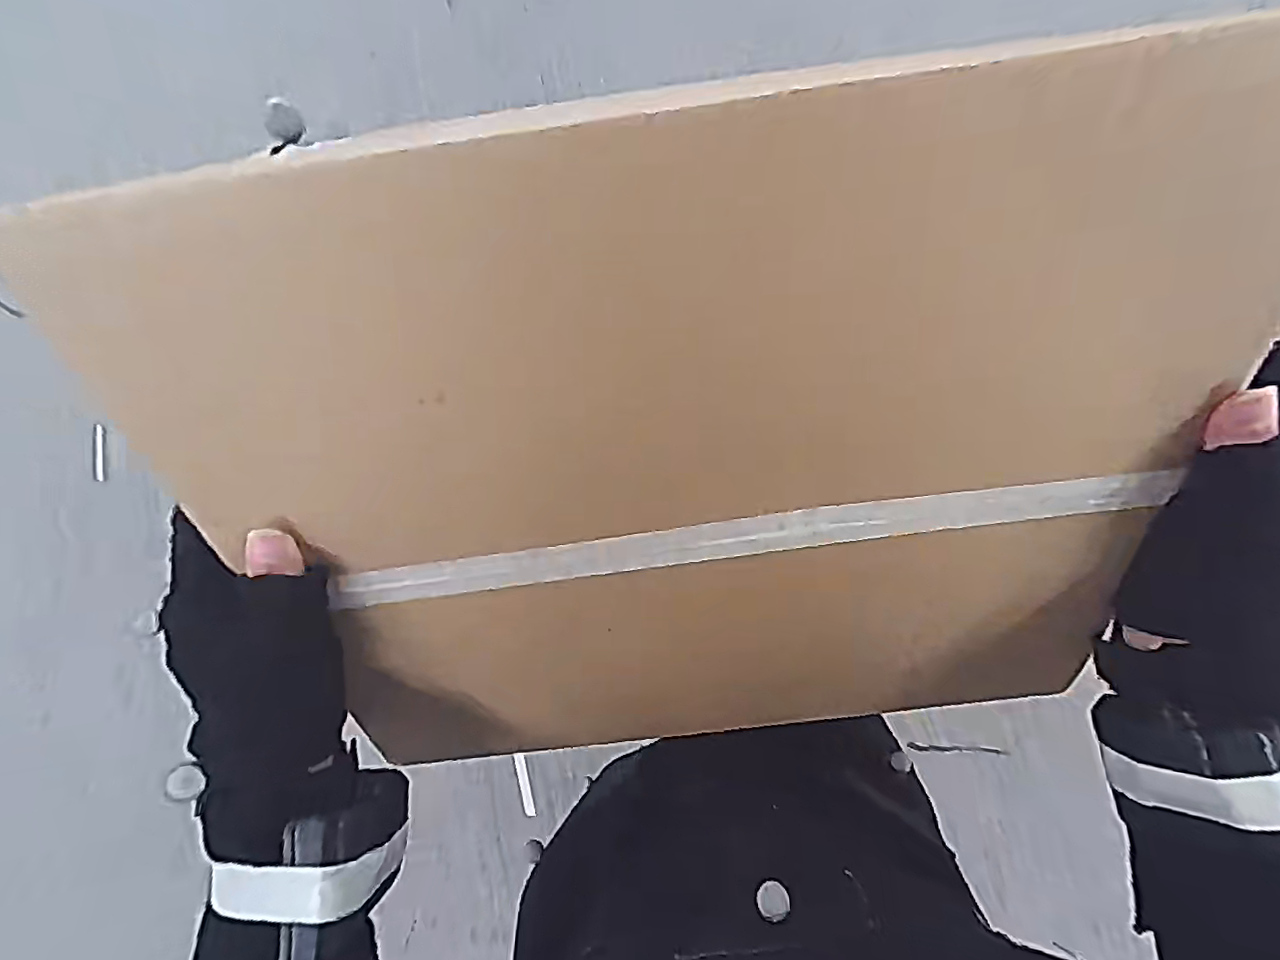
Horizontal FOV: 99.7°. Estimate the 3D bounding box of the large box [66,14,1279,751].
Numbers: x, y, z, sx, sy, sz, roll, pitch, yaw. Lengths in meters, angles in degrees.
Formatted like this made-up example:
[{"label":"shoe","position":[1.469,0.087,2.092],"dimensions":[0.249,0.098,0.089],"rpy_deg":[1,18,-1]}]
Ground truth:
[{"label":"large box","position":[0.024,-0.066,0.367],"dimensions":[0.408,0.320,0.320],"rpy_deg":[-8,36,2]}]
